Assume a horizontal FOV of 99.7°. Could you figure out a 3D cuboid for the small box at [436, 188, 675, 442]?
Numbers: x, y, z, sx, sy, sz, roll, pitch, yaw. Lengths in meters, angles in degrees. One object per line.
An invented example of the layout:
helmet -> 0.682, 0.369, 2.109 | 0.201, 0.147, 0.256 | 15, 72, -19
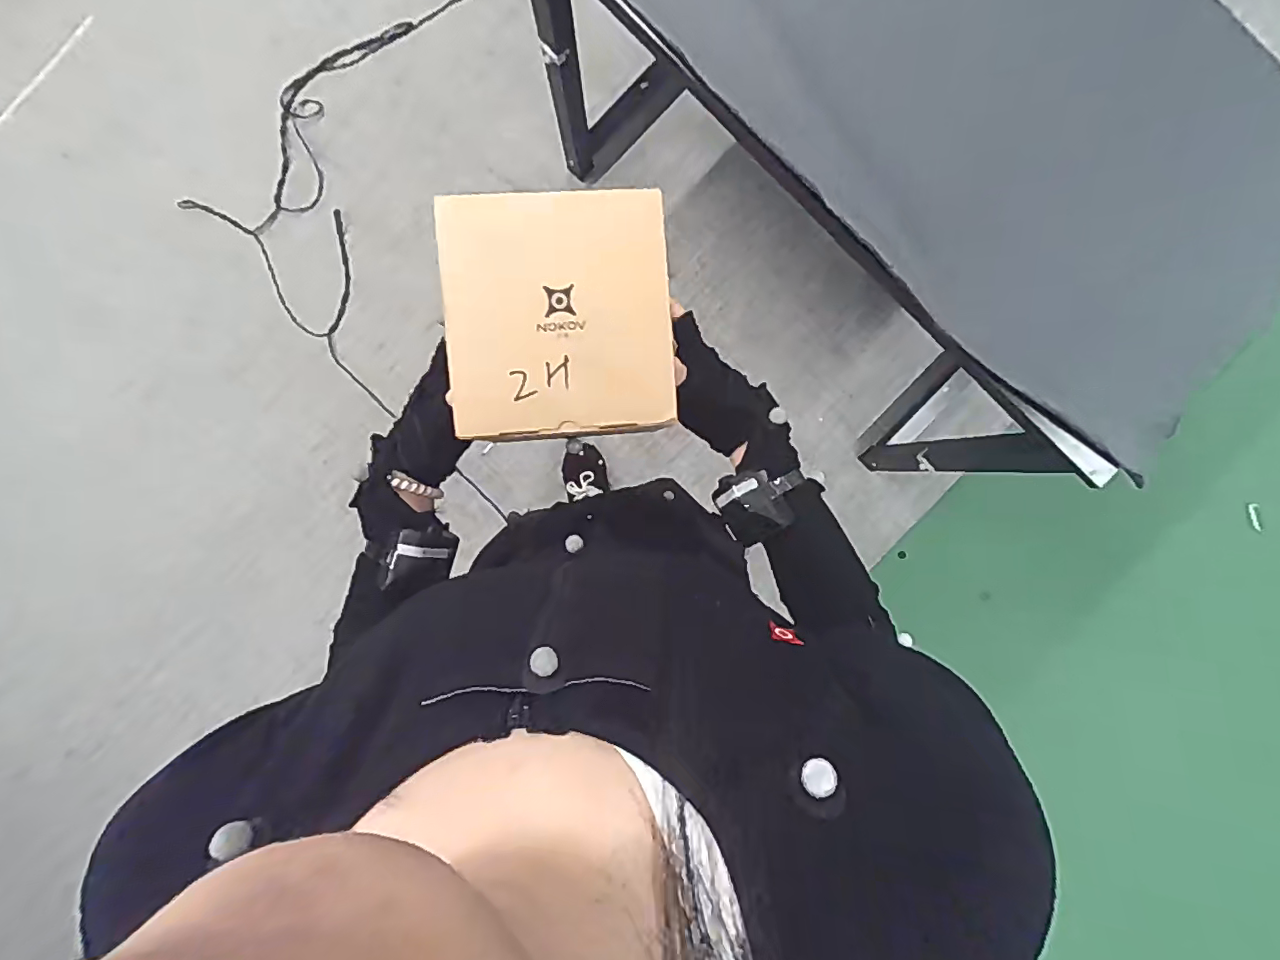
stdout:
small box -> -0.067, -0.127, 0.476 | 0.168, 0.176, 0.179 | -5, 94, -4
